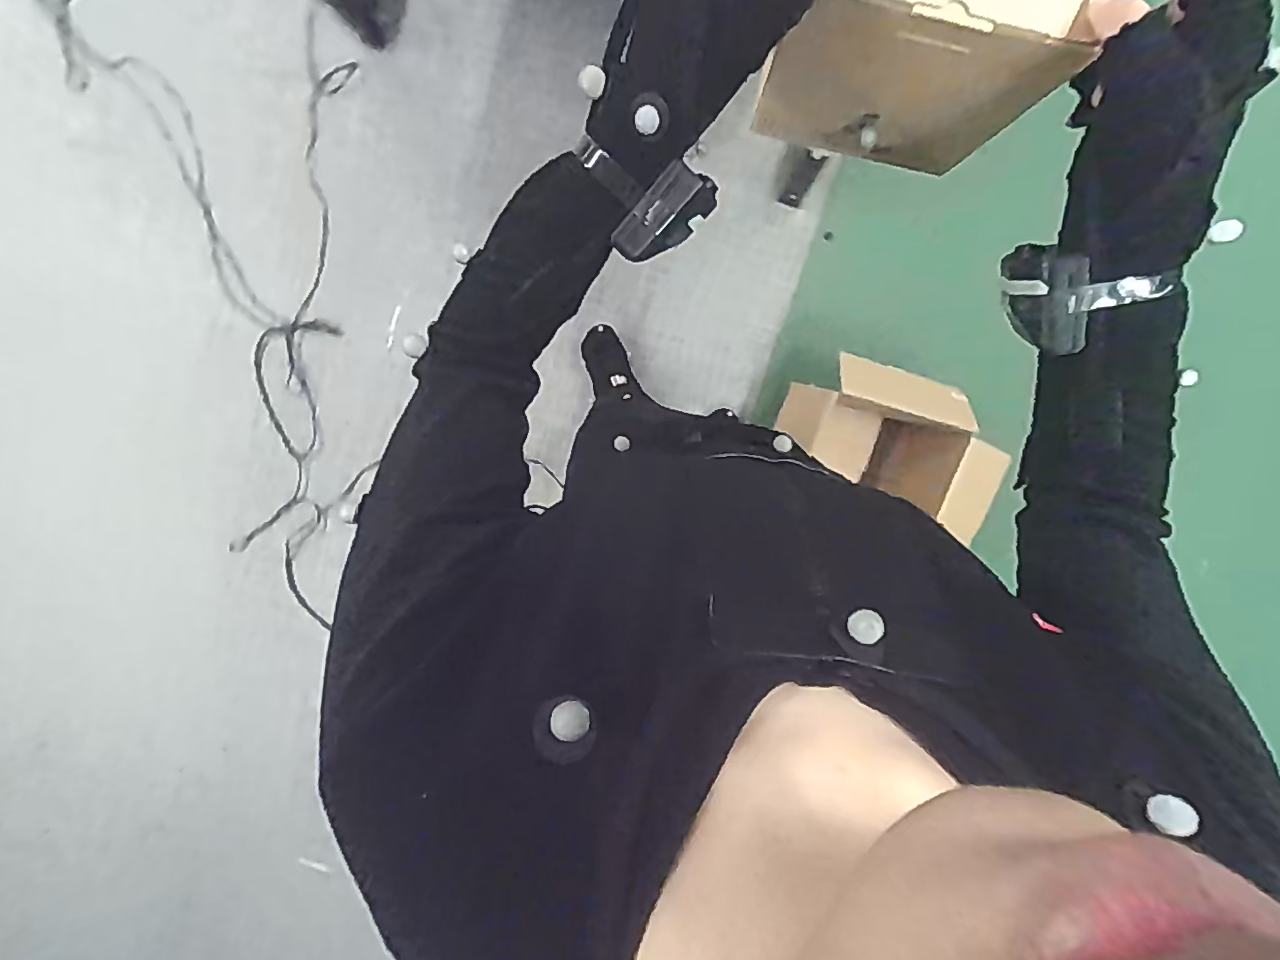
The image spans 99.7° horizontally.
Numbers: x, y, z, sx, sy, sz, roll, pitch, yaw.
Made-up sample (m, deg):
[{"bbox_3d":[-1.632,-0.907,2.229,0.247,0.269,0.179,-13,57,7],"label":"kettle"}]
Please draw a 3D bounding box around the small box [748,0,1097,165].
[{"bbox_3d":[0.176,-0.346,0.352,0.168,0.176,0.179,12,98,1],"label":"small box"}]
